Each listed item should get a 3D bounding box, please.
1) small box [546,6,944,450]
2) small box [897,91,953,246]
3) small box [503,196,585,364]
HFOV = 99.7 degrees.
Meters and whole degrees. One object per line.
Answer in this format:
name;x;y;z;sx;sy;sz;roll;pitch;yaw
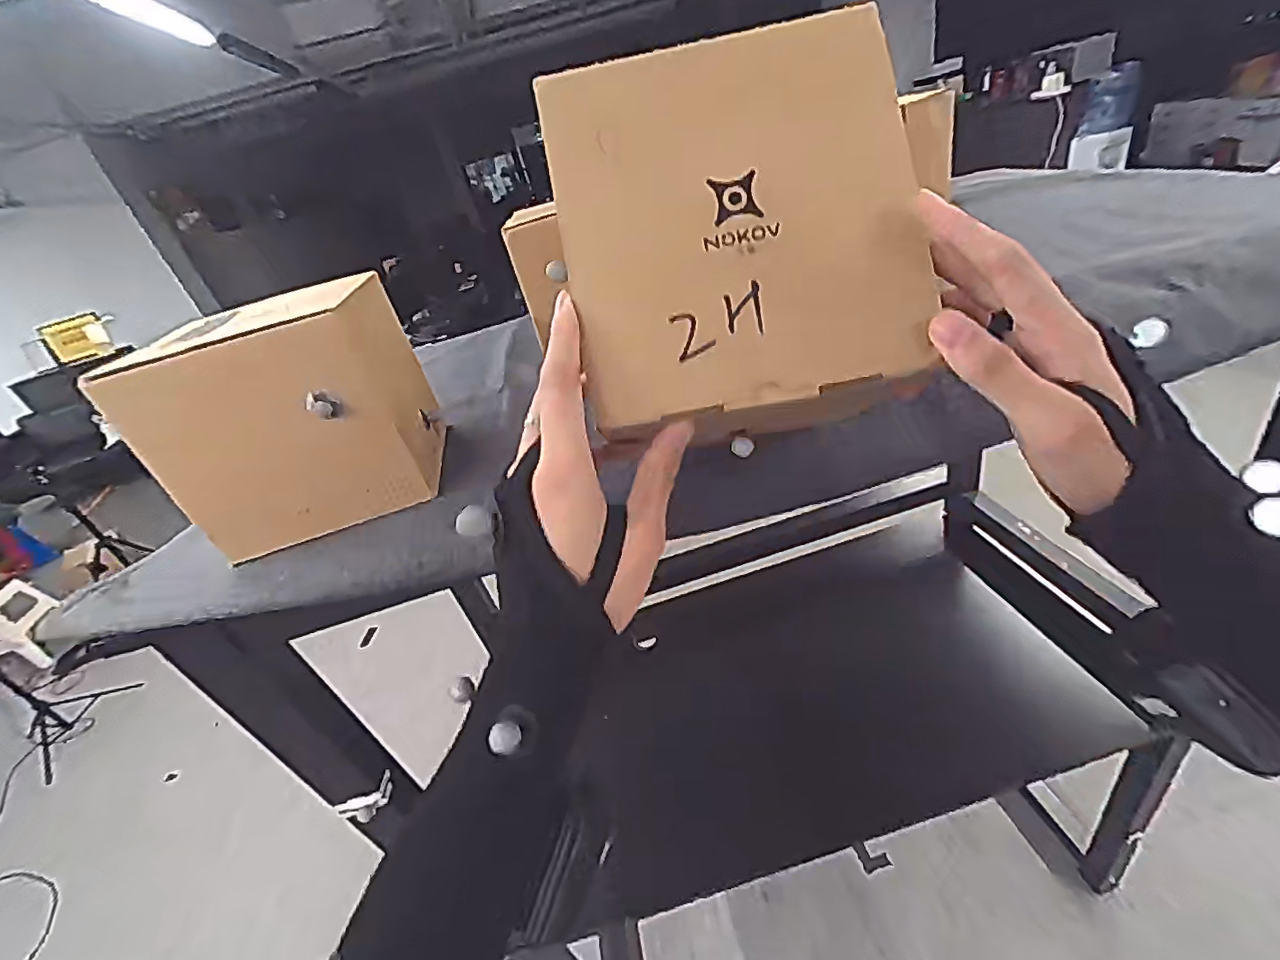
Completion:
small box;0.049;-0.123;0.333;0.168;0.179;0.176;-10;-3;3
small box;0.289;-0.393;0.727;0.168;0.176;0.179;-16;31;1
small box;-0.056;-0.273;0.700;0.179;0.176;0.168;-15;32;3
